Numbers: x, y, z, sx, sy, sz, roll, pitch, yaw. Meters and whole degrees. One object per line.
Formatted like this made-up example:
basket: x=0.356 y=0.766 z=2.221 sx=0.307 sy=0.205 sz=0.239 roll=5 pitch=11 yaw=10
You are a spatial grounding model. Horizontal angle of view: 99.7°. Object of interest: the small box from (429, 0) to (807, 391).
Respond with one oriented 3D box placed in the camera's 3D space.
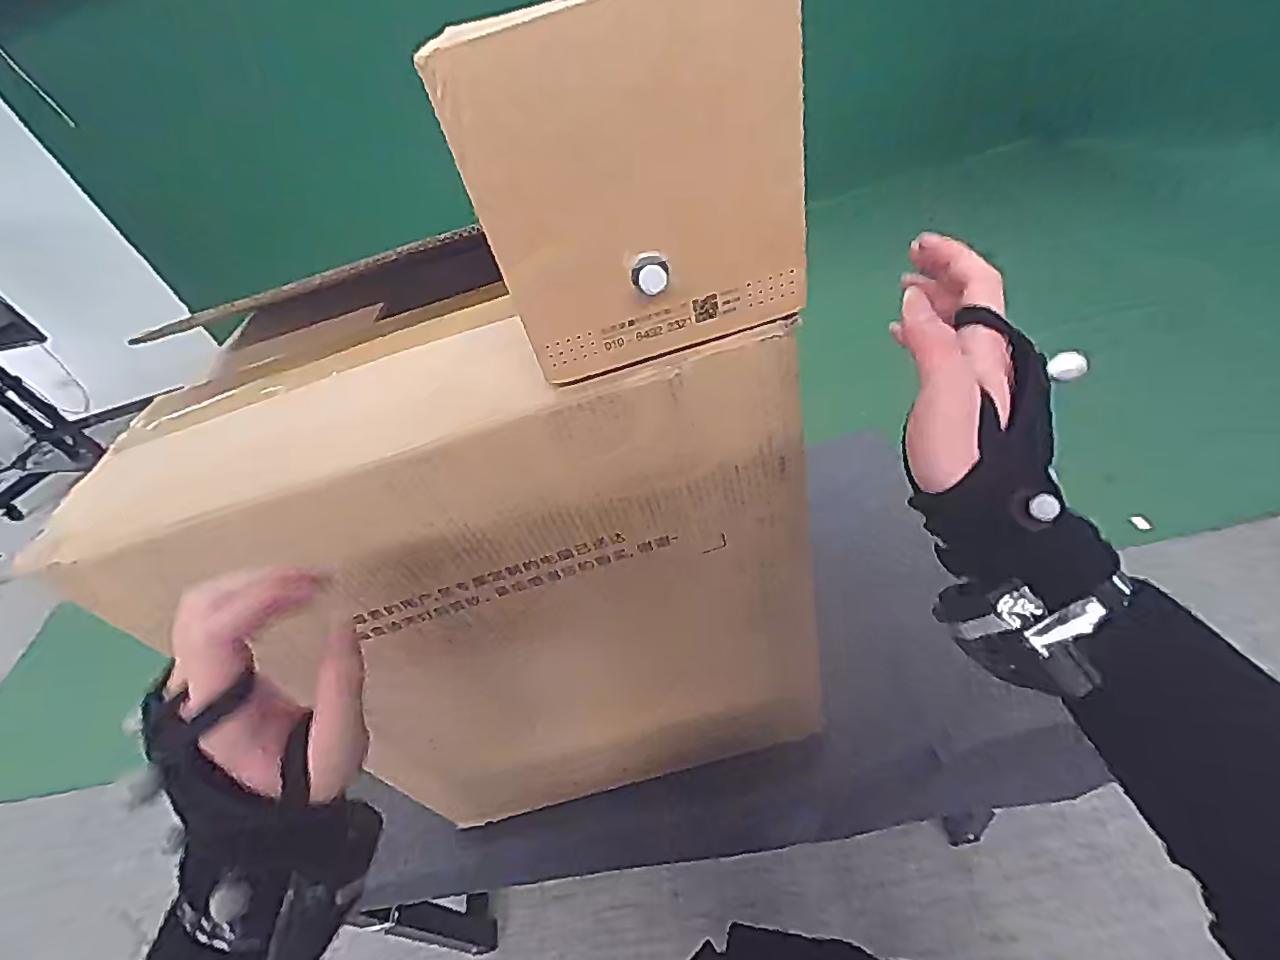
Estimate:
small box: x=-0.006 y=-0.184 z=0.340 sx=0.168 sy=0.176 sz=0.179 roll=-16 pitch=43 yaw=2
